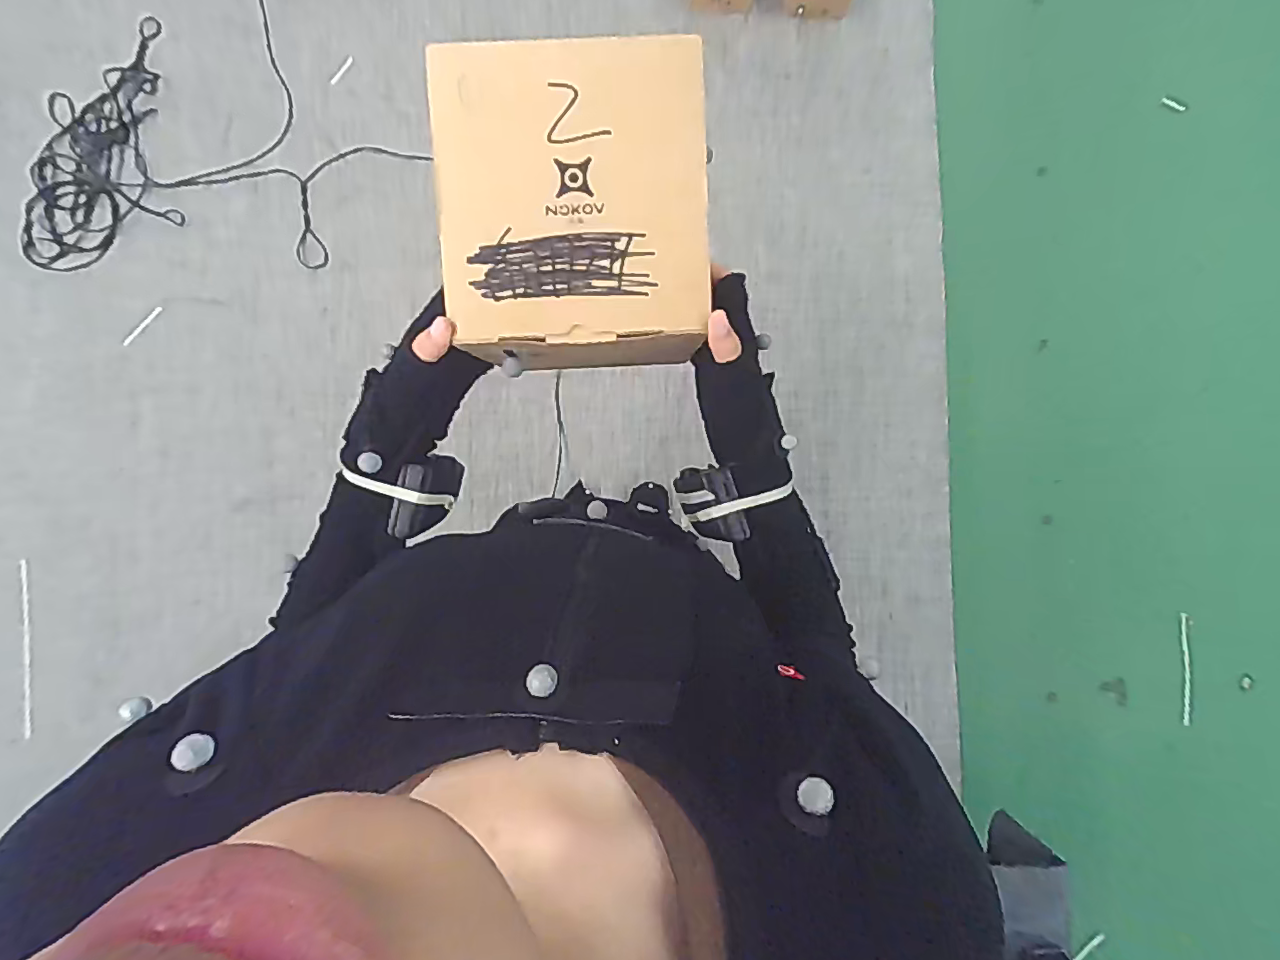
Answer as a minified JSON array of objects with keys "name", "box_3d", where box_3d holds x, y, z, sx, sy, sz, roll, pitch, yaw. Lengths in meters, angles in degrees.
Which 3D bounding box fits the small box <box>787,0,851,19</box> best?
[{"name":"small box","box_3d":[0.500,-1.393,1.453,0.168,0.176,0.179,1,88,-2]}]

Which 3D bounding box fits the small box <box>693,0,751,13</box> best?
[{"name":"small box","box_3d":[0.232,-1.409,1.444,0.168,0.176,0.179,1,89,-2]}]
